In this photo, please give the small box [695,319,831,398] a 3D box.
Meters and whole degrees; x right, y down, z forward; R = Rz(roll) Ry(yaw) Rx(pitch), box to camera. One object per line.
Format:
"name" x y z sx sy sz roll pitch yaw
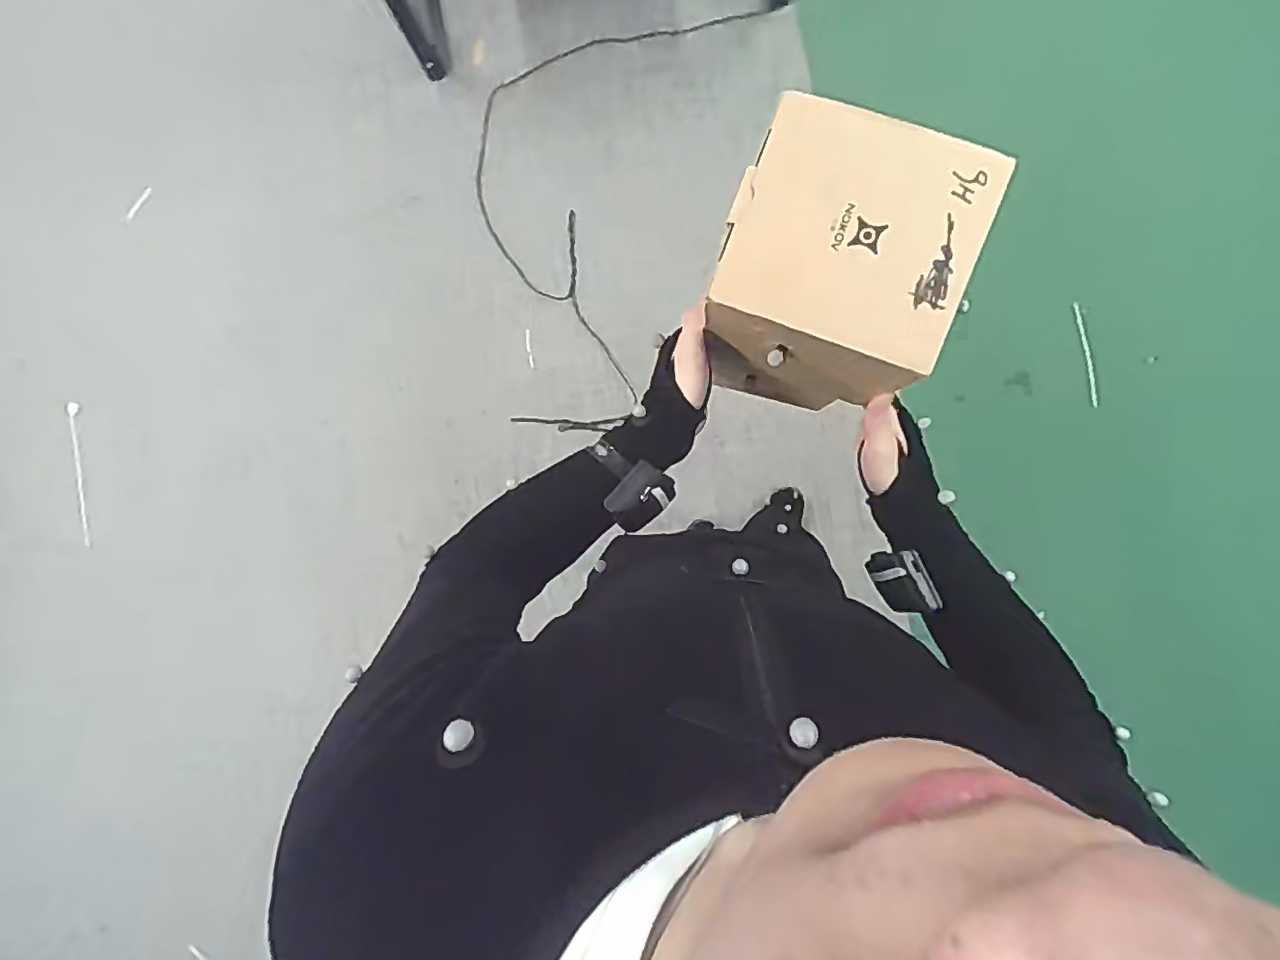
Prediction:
"small box" 0.167 -0.207 0.641 0.168 0.176 0.179 14 89 6
